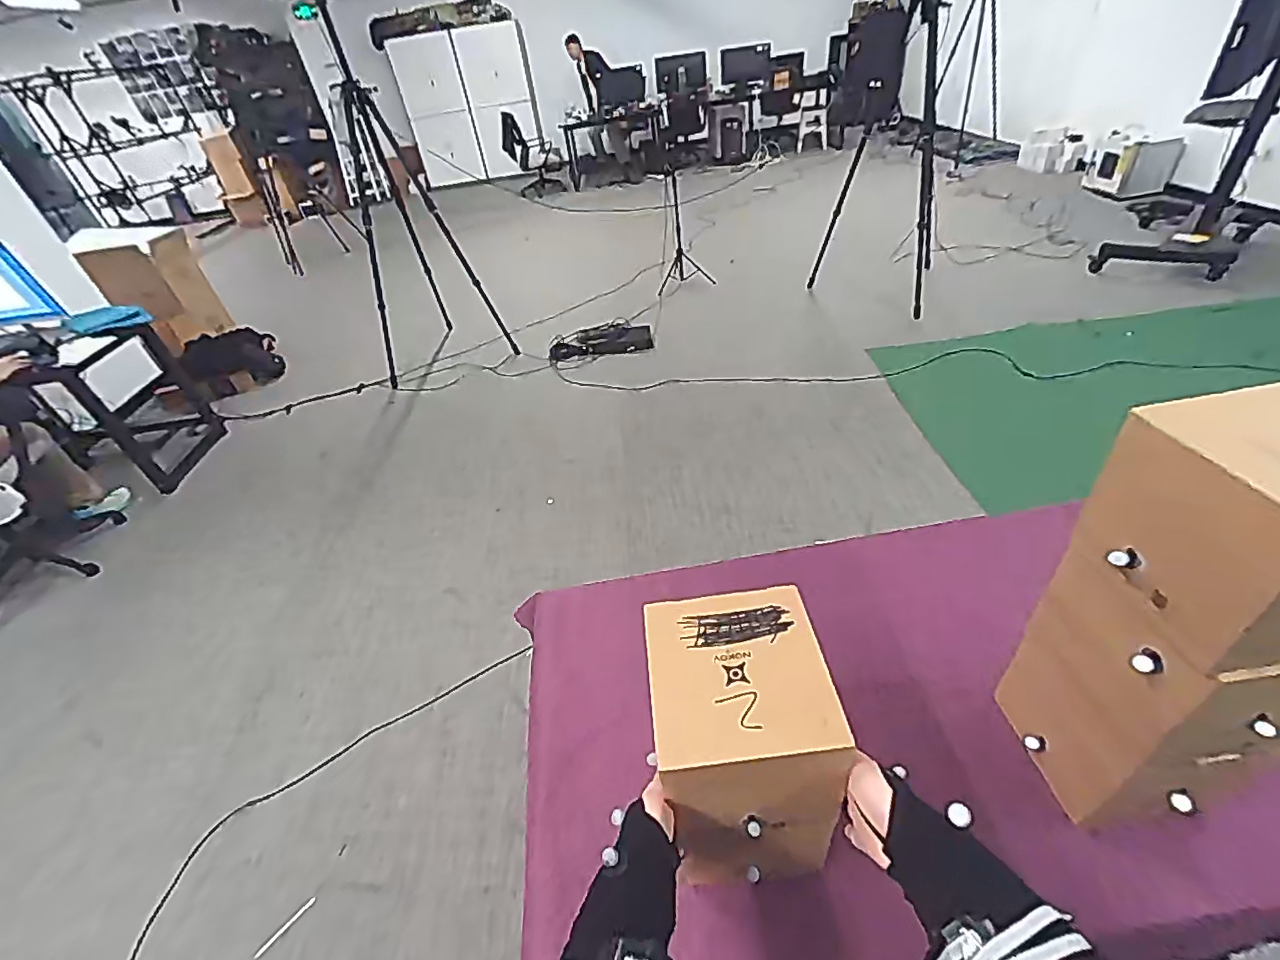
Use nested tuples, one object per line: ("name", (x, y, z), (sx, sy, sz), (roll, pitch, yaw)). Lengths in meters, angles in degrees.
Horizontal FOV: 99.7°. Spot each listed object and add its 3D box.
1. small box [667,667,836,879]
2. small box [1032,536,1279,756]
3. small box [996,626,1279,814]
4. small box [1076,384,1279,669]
("small box", (0.126, 0.362, 0.672), (0.168, 0.176, 0.179), (-8, 40, 2))
("small box", (0.562, 0.164, 0.562), (0.168, 0.176, 0.179), (-9, 39, 0))
("small box", (0.587, 0.289, 0.668), (0.168, 0.176, 0.179), (-9, 40, 1))
("small box", (0.536, 0.037, 0.463), (0.179, 0.176, 0.168), (-10, 38, 1))
